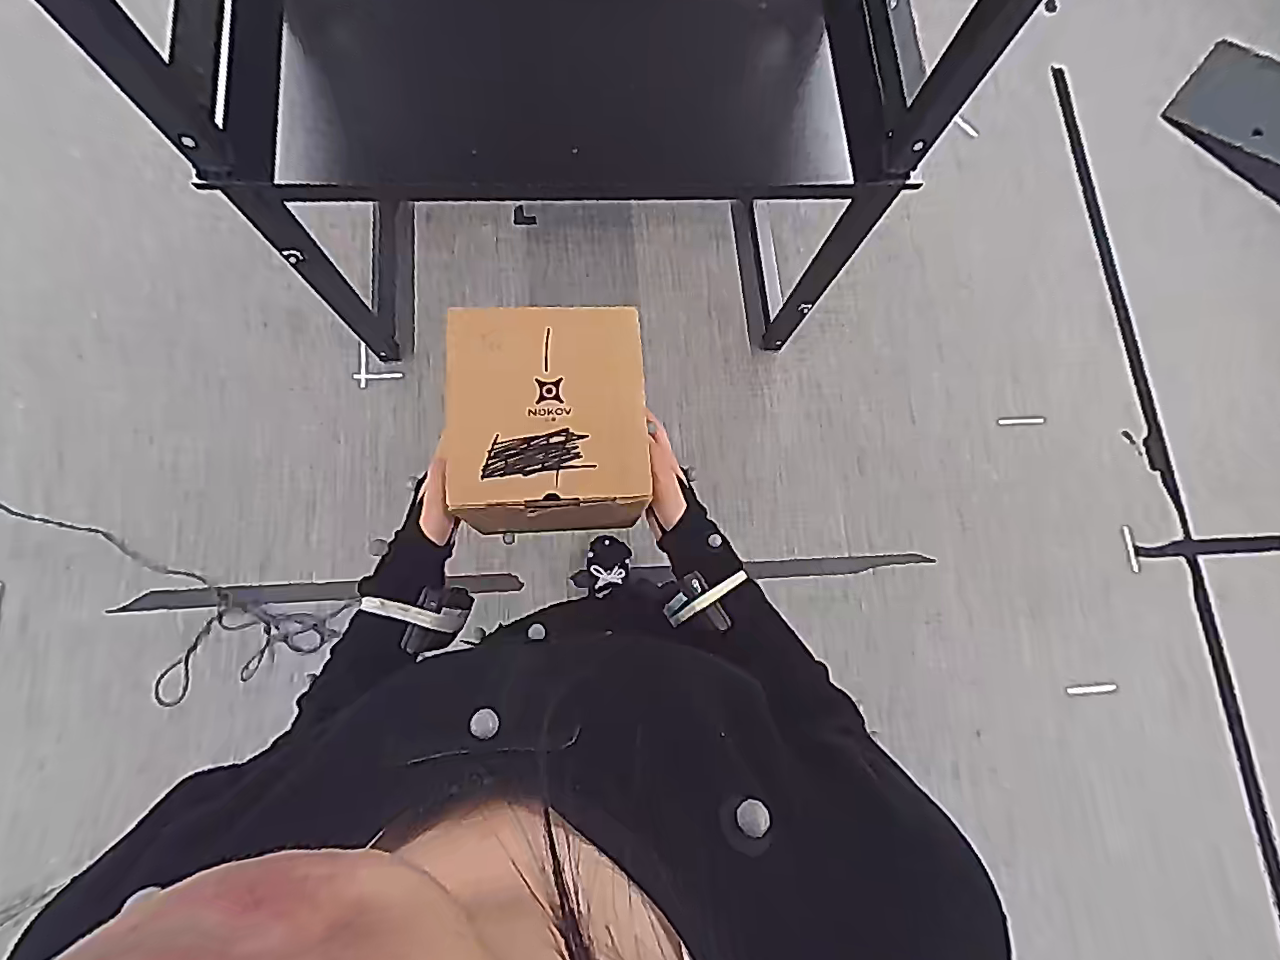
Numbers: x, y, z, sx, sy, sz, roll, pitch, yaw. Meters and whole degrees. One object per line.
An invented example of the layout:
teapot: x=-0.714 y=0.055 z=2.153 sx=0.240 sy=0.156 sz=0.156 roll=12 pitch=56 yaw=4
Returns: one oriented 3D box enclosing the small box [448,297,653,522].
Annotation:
small box: x=-0.082 y=-0.055 z=0.524 sx=0.168 sy=0.176 sz=0.179 roll=-2 pitch=76 yaw=-8
